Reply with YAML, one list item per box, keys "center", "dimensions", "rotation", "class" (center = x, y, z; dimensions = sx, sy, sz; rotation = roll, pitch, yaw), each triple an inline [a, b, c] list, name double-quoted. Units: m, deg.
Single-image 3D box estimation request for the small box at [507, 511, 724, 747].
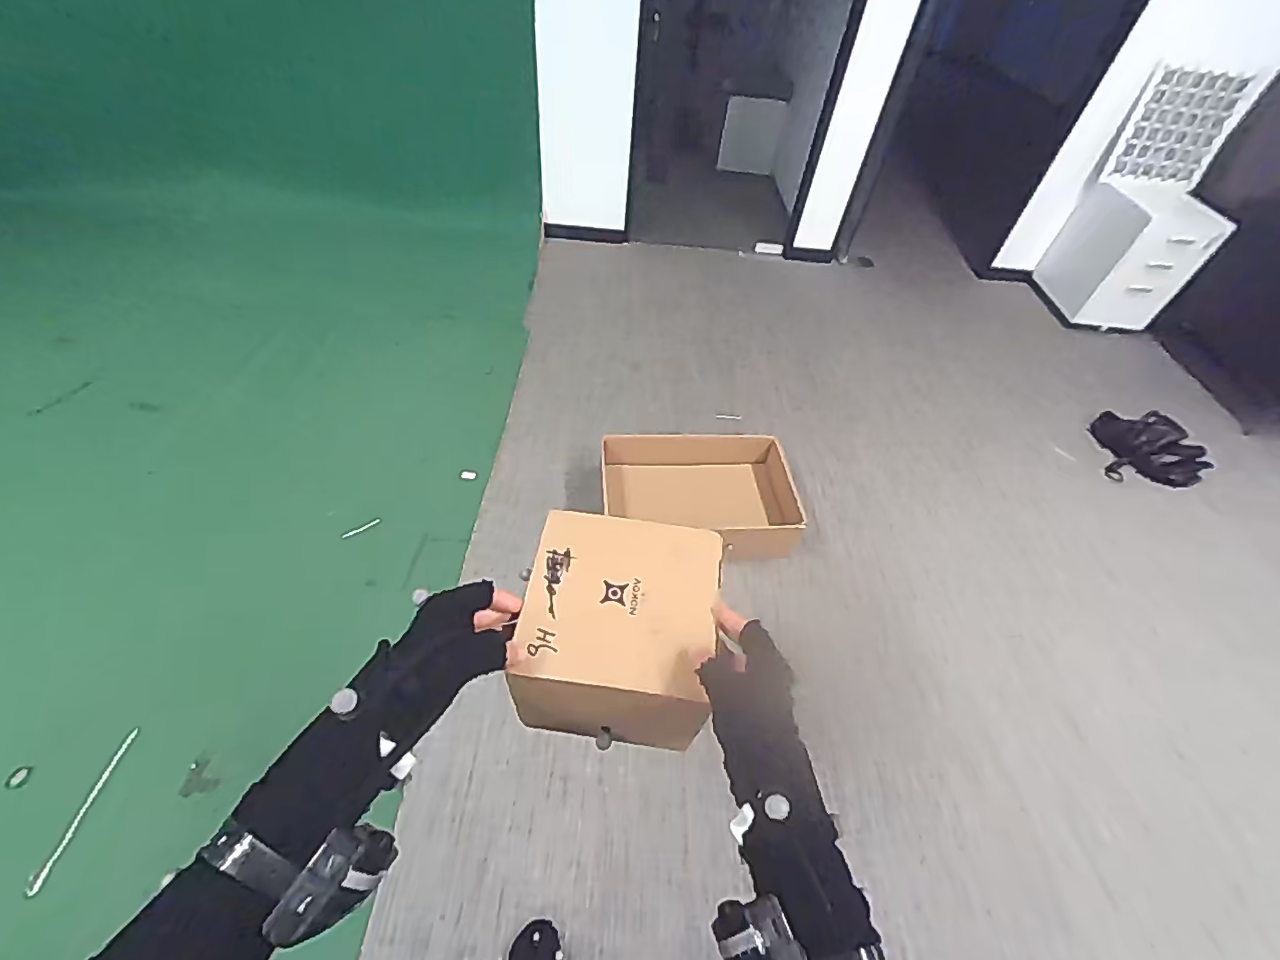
- center: [-0.021, 0.157, 0.550]
  dimensions: [0.179, 0.176, 0.168]
  rotation: [10, 50, 0]
  class: "small box"
